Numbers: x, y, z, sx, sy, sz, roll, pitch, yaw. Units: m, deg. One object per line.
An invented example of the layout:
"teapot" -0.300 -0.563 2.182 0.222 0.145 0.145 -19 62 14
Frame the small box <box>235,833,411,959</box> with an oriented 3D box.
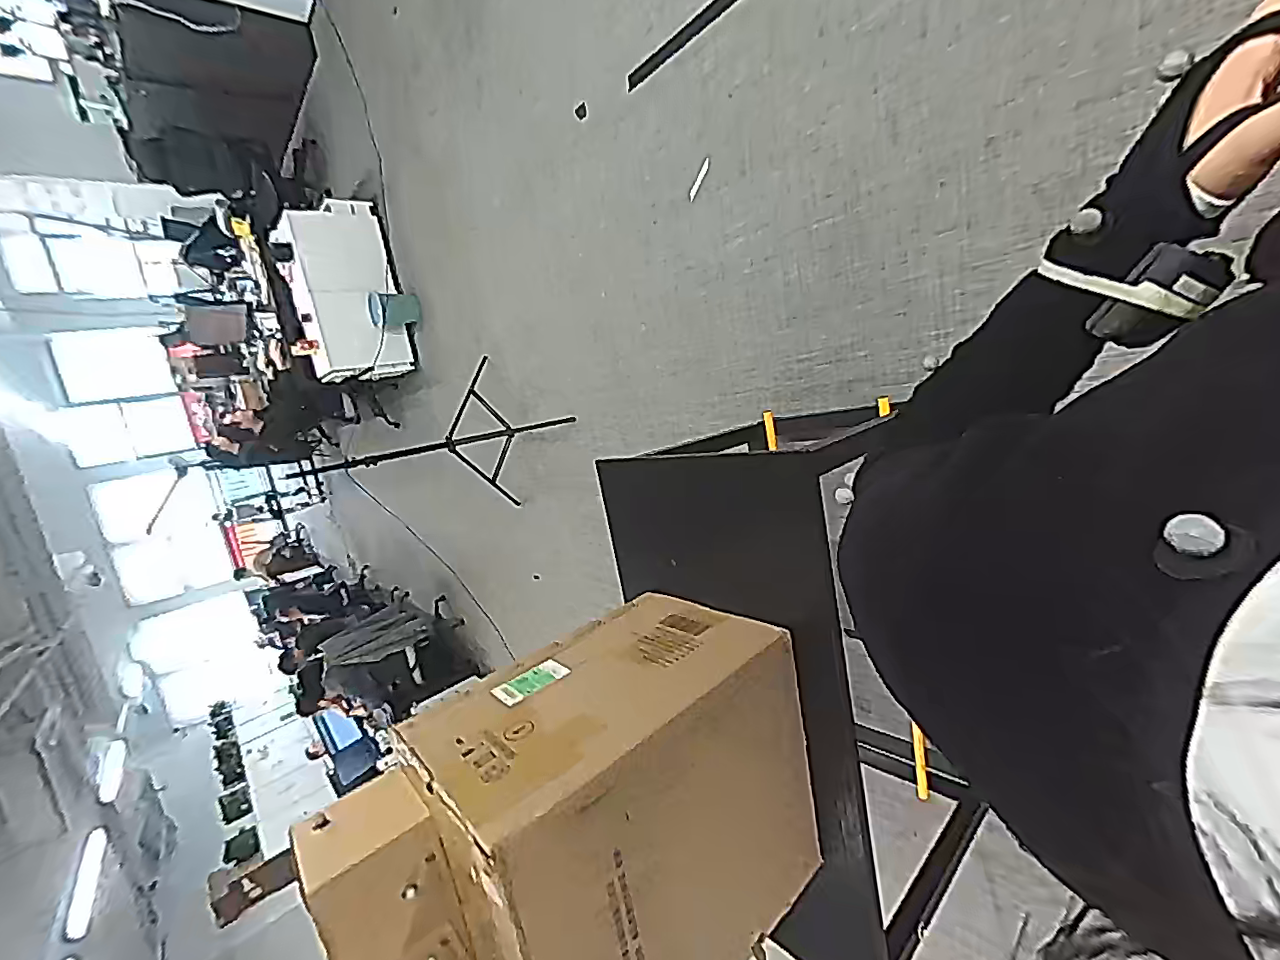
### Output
"small box" -0.433 0.638 0.748 0.179 0.176 0.168 -1 105 52
